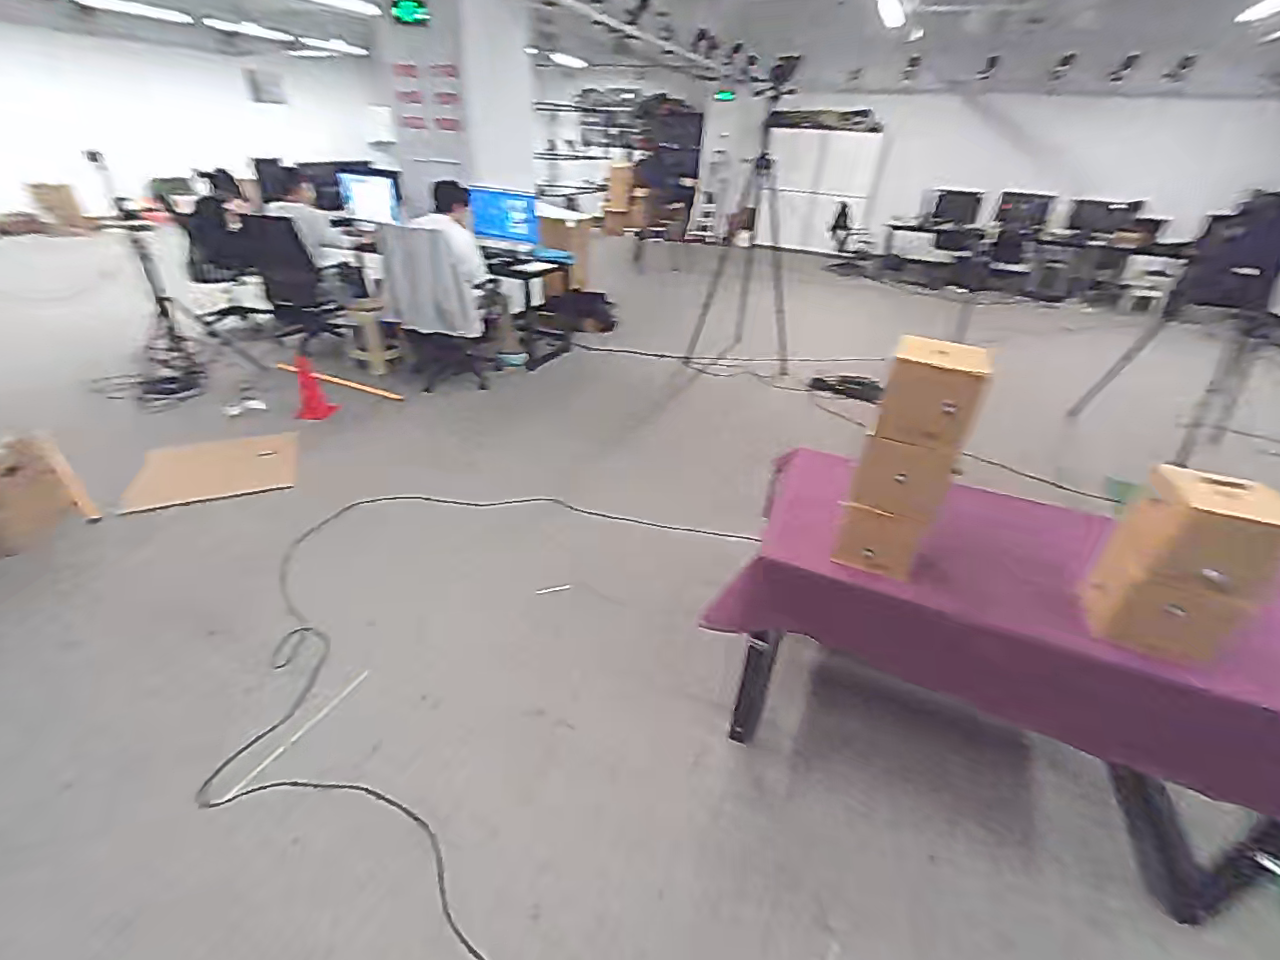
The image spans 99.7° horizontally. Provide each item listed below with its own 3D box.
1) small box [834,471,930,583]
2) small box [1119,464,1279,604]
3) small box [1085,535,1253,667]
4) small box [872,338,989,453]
[{"bbox_3d":[0.563,0.108,1.264,0.168,0.176,0.179,16,34,20],"label":"small box"},{"bbox_3d":[1.044,0.097,1.003,0.168,0.176,0.179,14,34,18],"label":"small box"},{"bbox_3d":[1.034,0.241,1.082,0.179,0.176,0.168,16,34,20],"label":"small box"},{"bbox_3d":[0.583,-0.173,1.096,0.168,0.176,0.179,17,34,21],"label":"small box"}]
